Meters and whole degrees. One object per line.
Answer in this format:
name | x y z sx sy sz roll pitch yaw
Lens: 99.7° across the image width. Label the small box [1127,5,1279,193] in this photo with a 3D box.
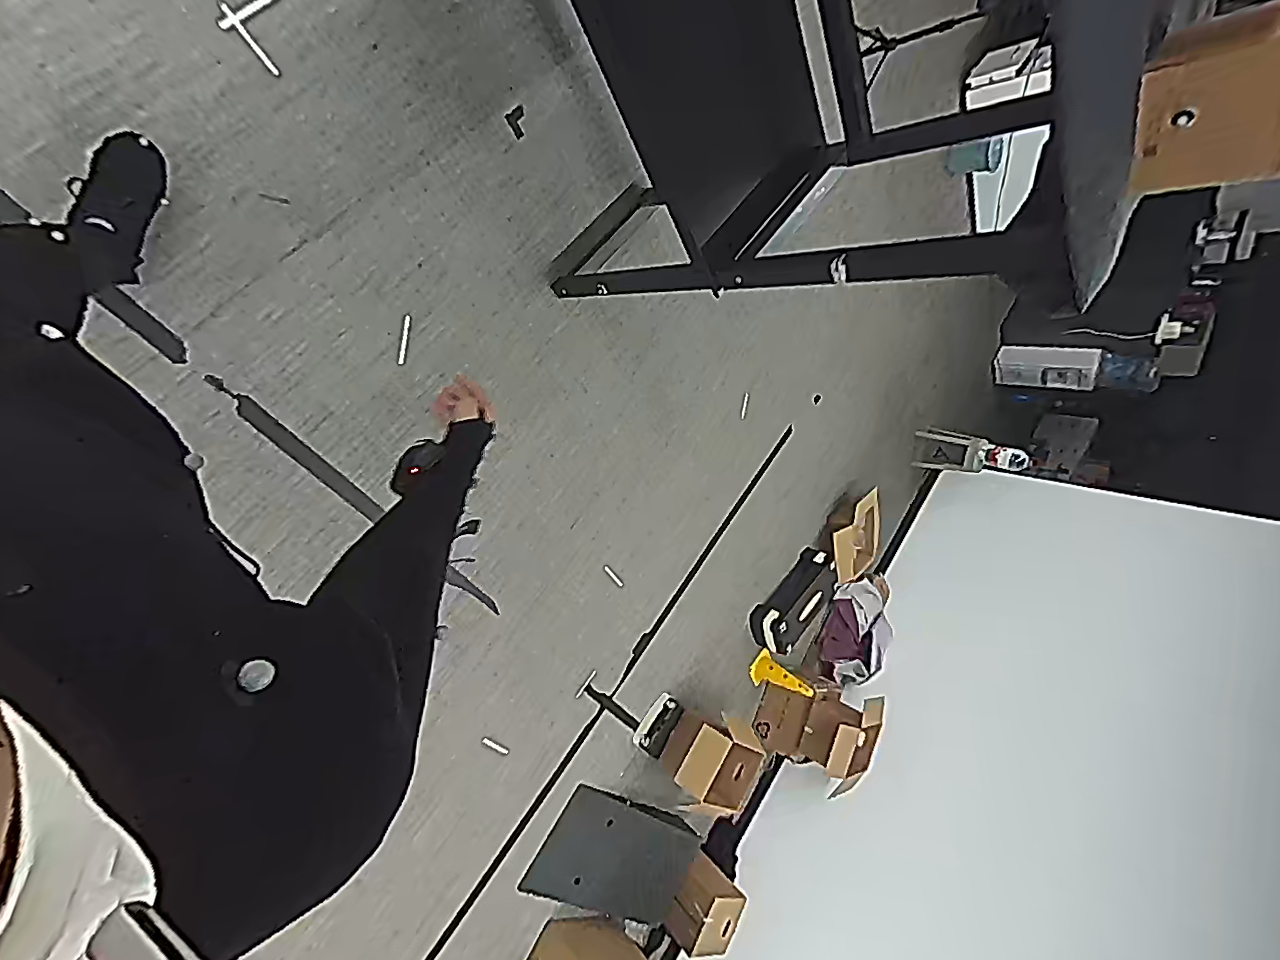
small box | 0.813 -0.525 0.746 0.179 0.176 0.168 -47 130 -23
